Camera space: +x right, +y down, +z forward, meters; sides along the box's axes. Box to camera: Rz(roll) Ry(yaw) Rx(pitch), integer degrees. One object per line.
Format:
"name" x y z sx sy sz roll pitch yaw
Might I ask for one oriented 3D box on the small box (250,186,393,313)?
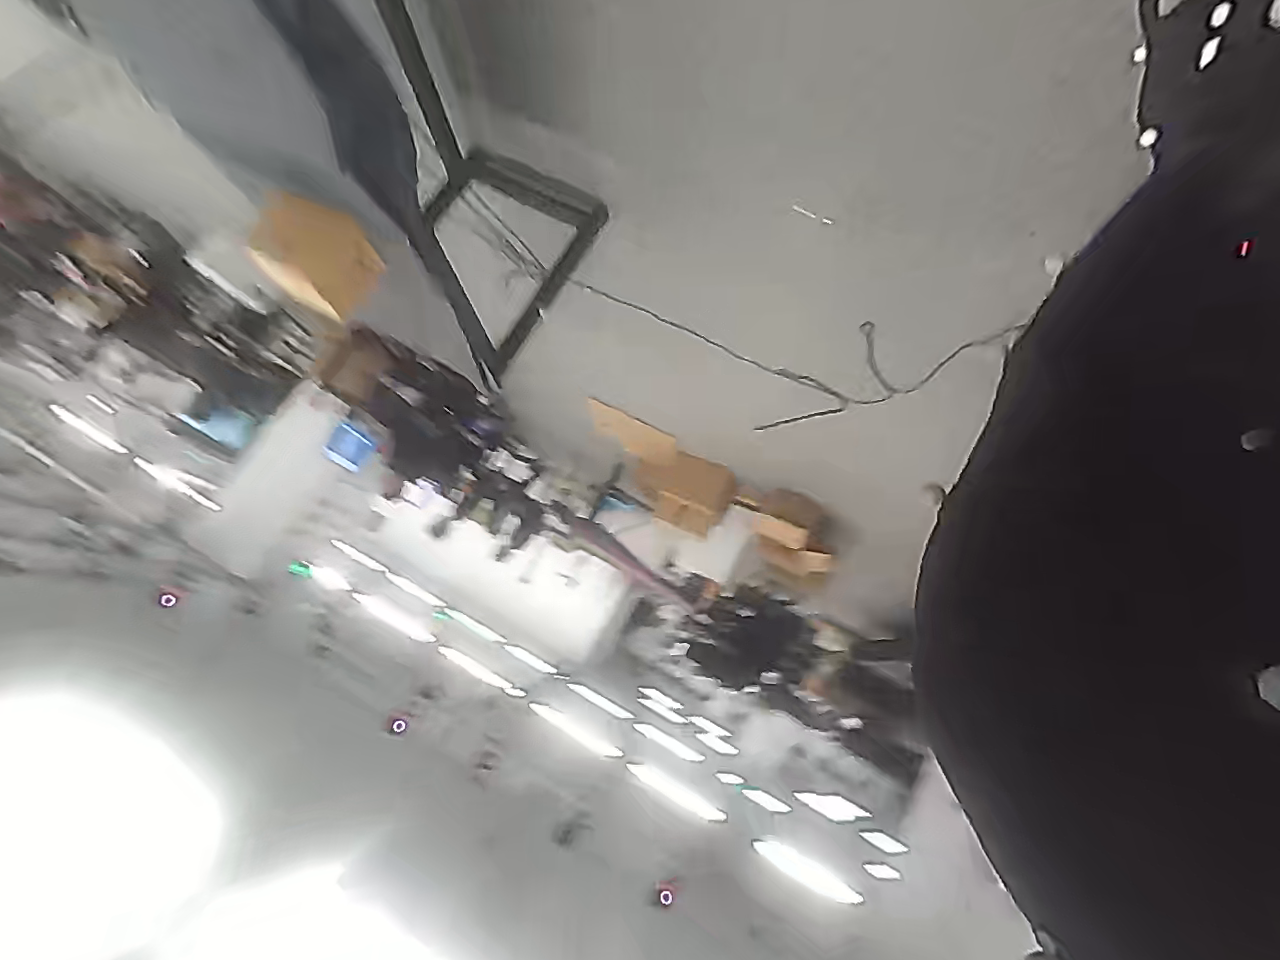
"small box" -0.697 -0.516 1.205 0.179 0.176 0.168 27 166 9
